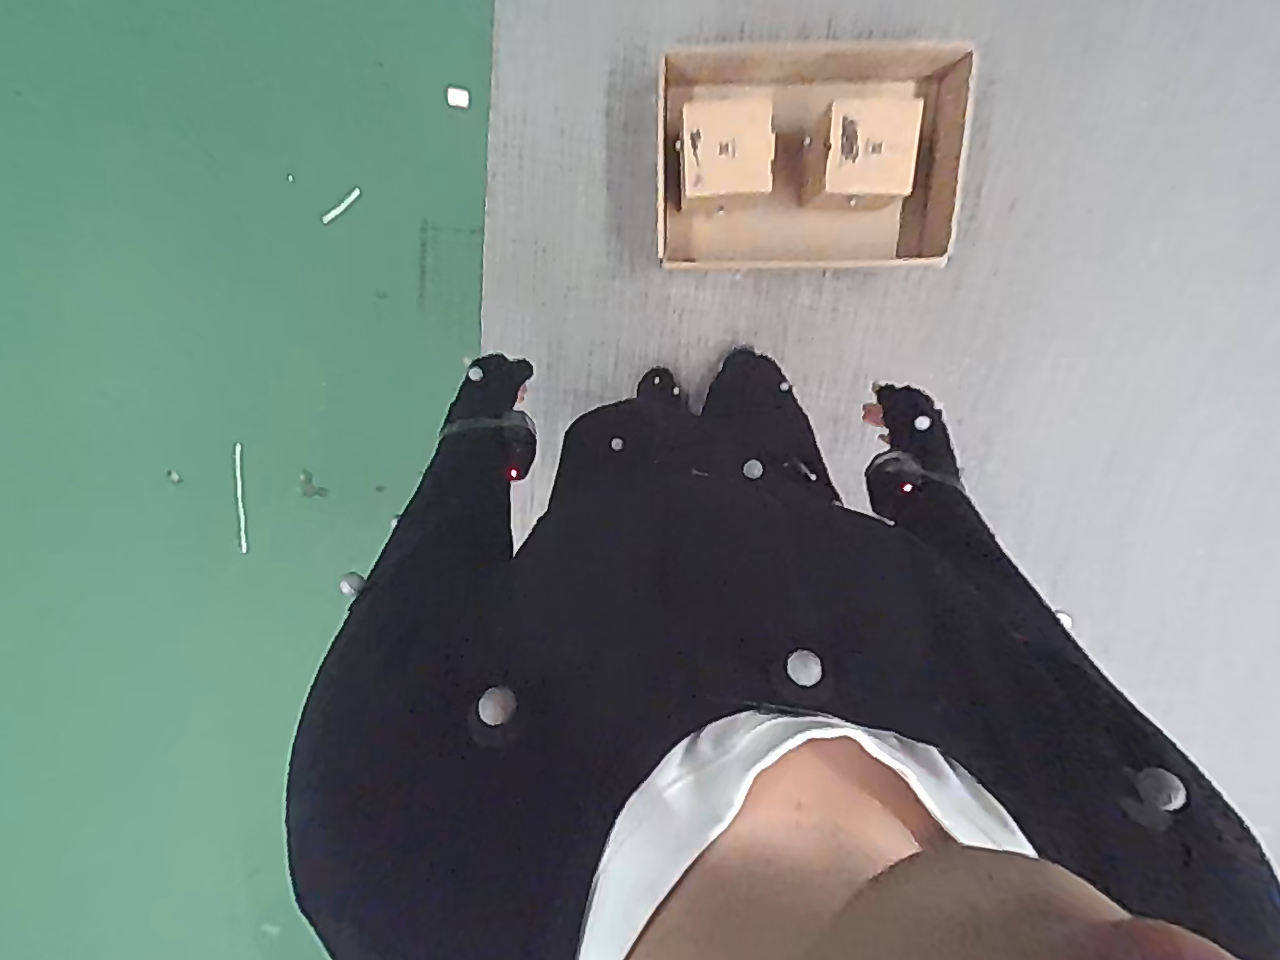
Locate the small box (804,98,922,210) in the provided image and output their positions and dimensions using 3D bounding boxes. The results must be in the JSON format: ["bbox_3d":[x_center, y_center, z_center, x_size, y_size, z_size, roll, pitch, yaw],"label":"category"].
[{"bbox_3d":[0.455,-0.673,1.134,0.179,0.176,0.168,2,106,1],"label":"small box"}]

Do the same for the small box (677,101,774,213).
[{"bbox_3d":[0.174,-0.672,1.140,0.179,0.176,0.168,-3,105,0],"label":"small box"}]
